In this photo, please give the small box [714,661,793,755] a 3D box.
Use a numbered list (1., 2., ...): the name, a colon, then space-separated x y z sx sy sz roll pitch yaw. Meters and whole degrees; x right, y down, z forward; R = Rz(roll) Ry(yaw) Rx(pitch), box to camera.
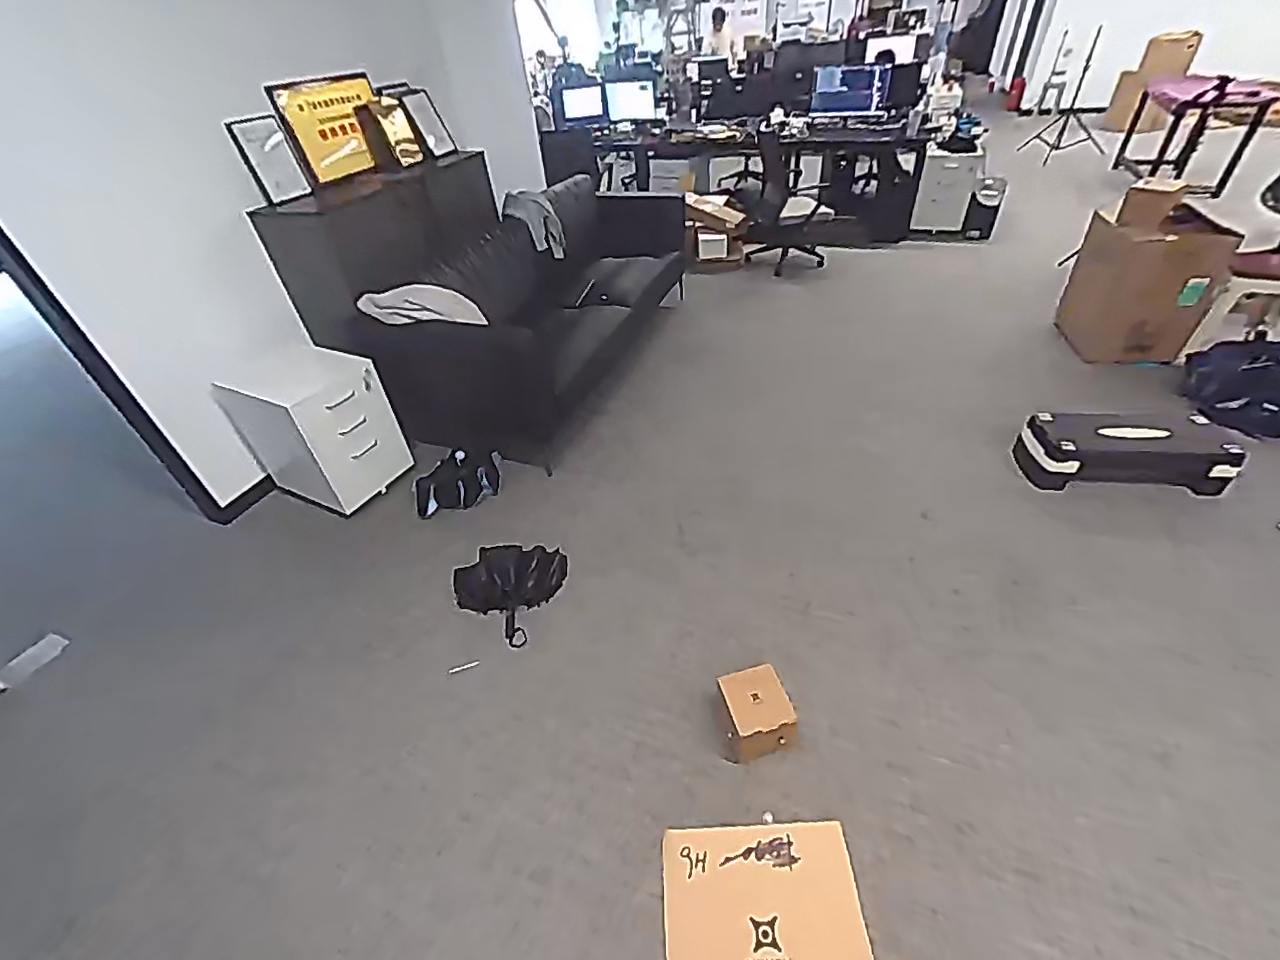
1. small box: 0.316 0.651 1.533 0.168 0.176 0.179 -12 39 -10
